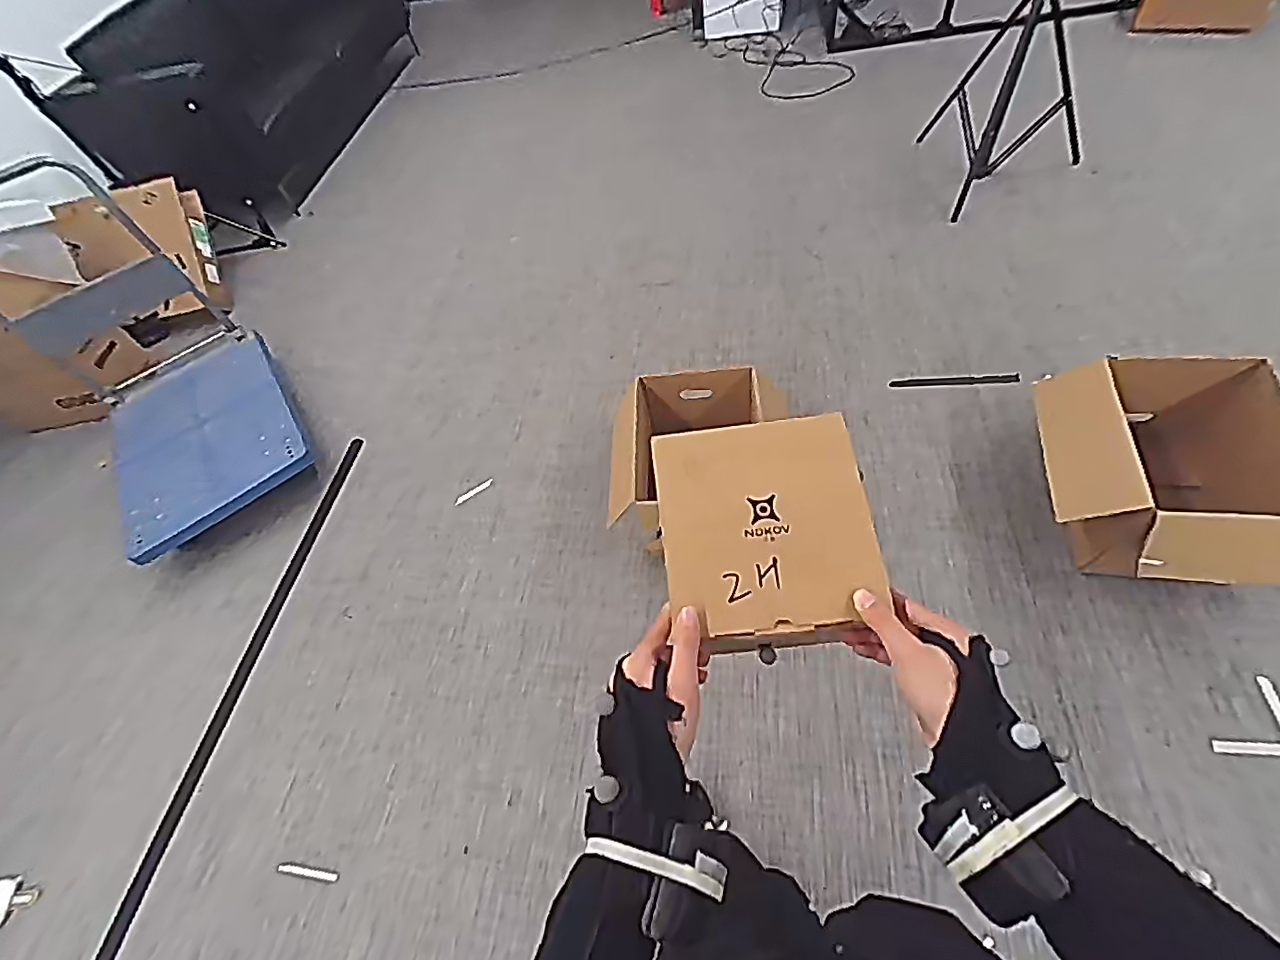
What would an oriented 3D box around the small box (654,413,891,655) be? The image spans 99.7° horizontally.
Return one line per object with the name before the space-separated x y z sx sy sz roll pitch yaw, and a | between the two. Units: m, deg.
small box | 0.105 0.060 0.507 0.168 0.176 0.179 -7 67 4
